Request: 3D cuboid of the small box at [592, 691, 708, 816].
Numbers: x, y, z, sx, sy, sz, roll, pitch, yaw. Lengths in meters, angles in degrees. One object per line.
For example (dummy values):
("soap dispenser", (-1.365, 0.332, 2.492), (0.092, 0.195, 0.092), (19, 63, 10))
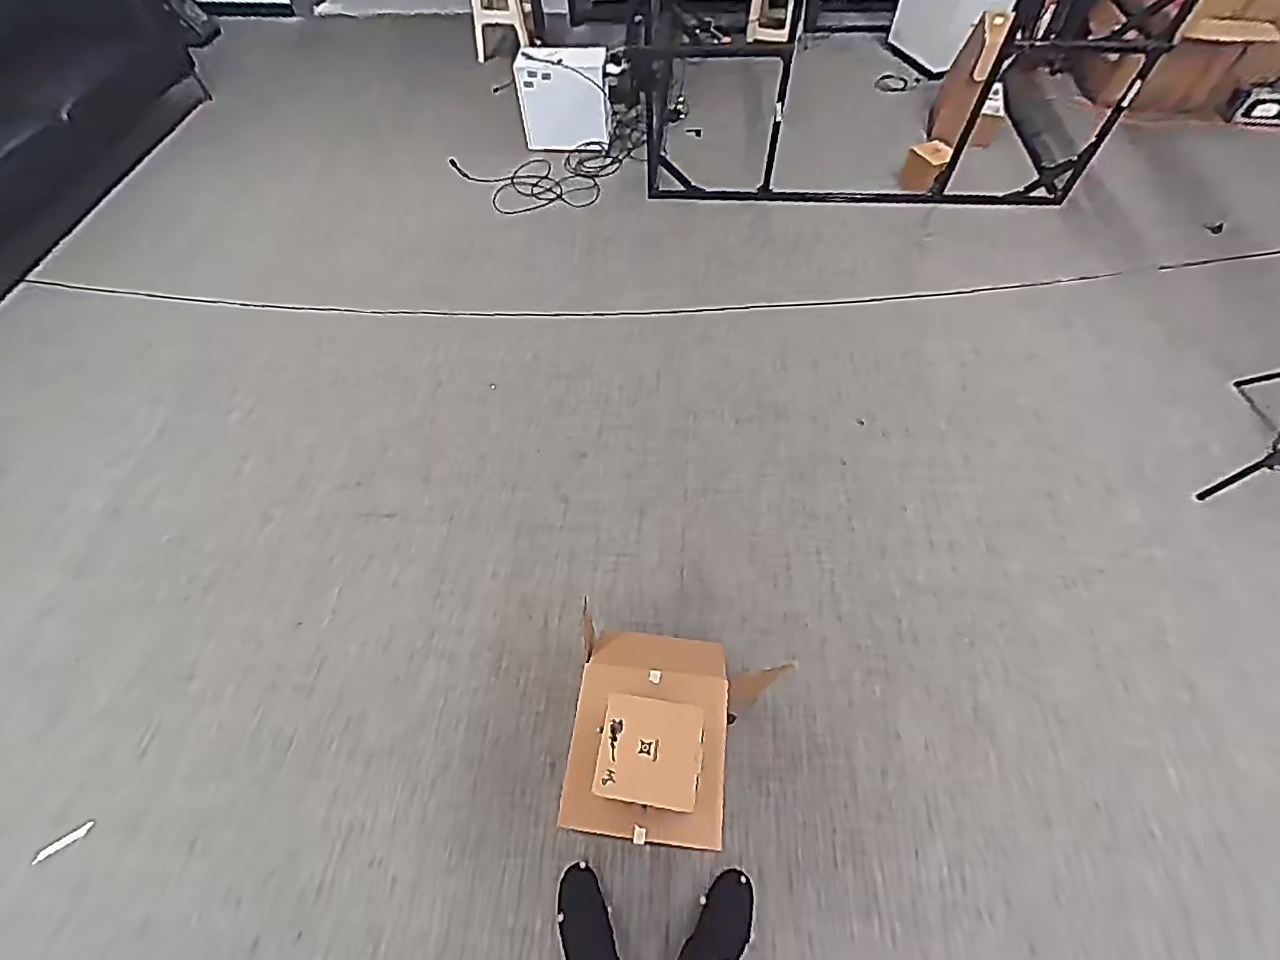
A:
("small box", (0.022, 0.500, 0.991), (0.179, 0.176, 0.168), (9, 60, 6))
